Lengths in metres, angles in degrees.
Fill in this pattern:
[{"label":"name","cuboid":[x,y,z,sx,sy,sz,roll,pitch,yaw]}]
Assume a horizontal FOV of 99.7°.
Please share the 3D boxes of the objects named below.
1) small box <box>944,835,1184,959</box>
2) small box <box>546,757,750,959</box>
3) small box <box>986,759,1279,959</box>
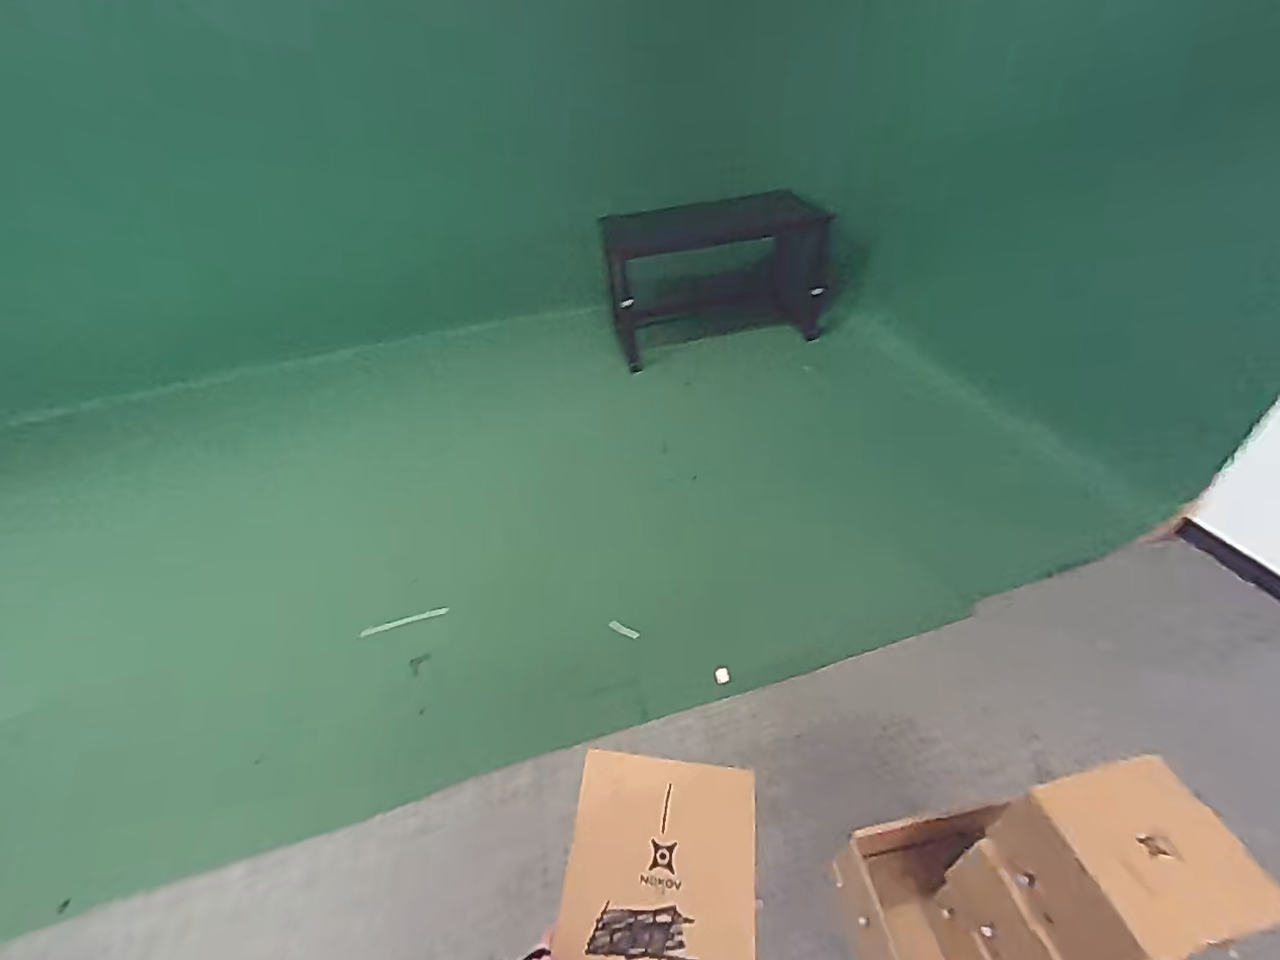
[{"label":"small box","cuboid":[0.574,0.597,0.761,0.179,0.176,0.168,-11,42,-7]},{"label":"small box","cuboid":[0.013,0.395,0.535,0.168,0.176,0.179,6,53,4]},{"label":"small box","cuboid":[0.572,0.472,0.657,0.179,0.176,0.168,-10,42,-6]}]
